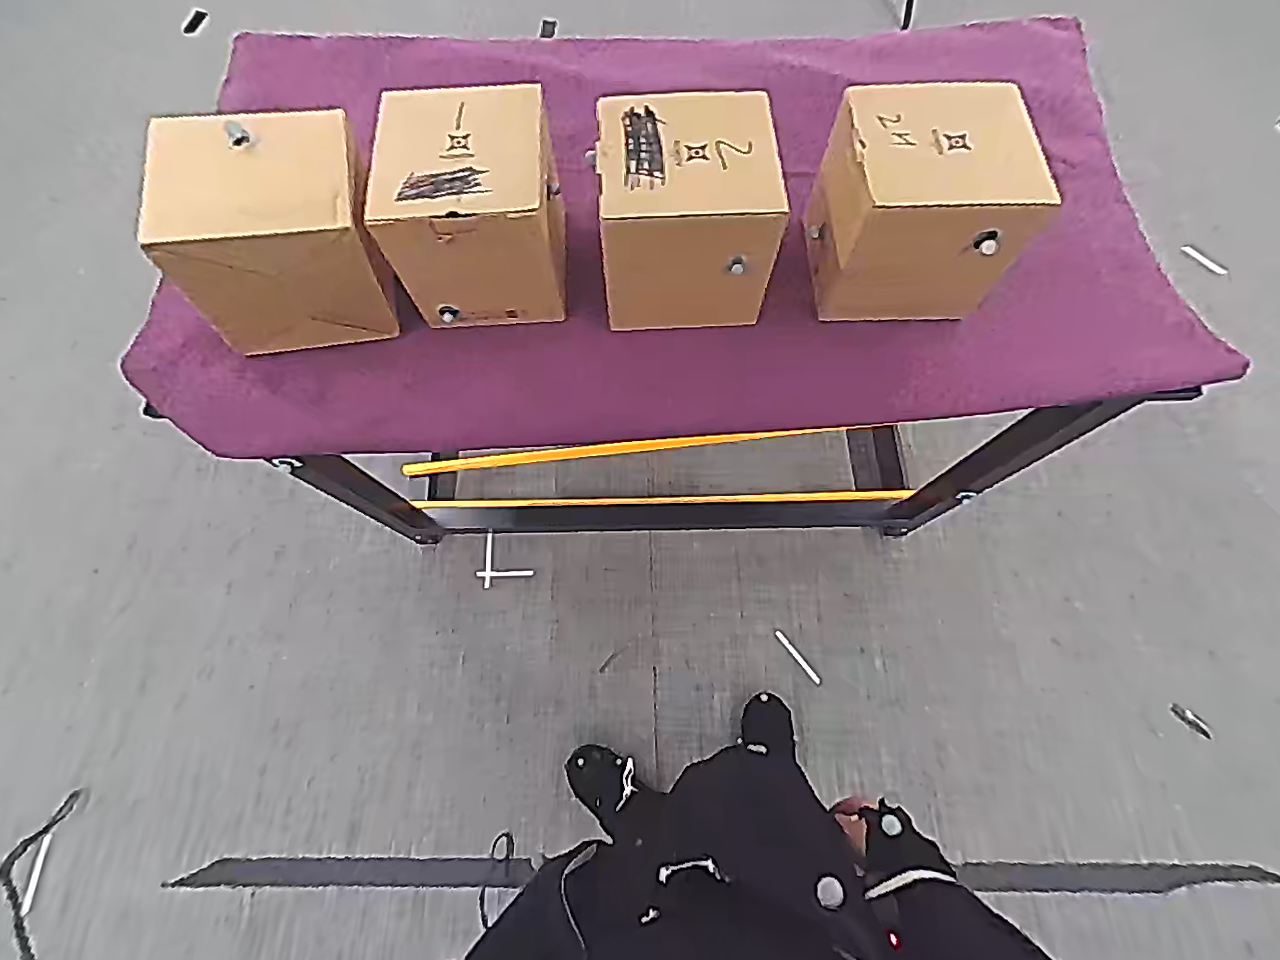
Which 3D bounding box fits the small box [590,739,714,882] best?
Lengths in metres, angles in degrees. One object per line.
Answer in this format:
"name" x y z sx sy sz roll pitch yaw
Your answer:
"small box" 0.021 0.626 1.037 0.179 0.176 0.168 -41 72 -15
